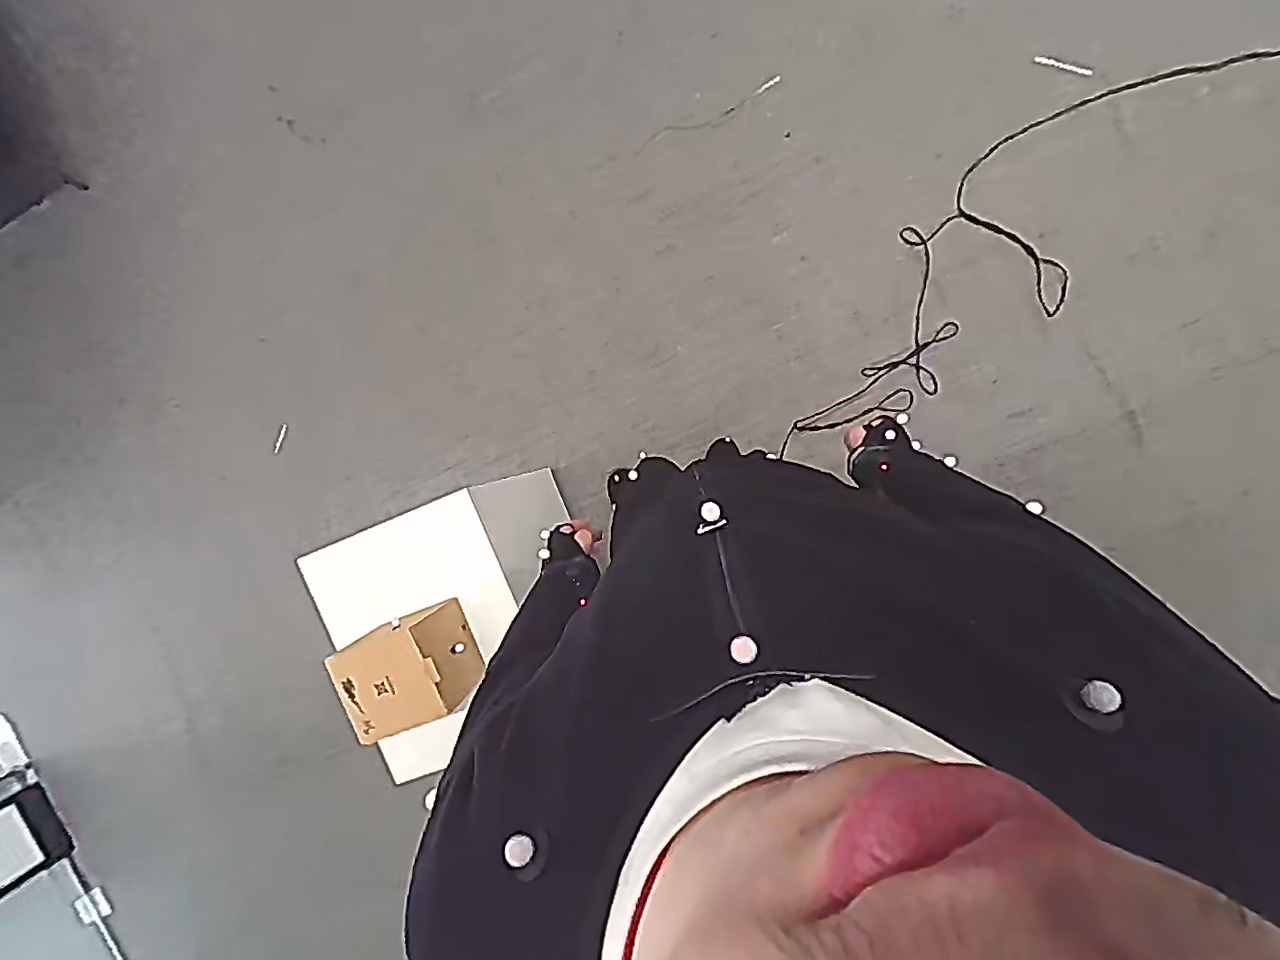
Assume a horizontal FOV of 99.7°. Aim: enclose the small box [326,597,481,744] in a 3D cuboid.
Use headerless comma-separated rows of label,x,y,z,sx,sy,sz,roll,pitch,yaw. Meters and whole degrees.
small box,-0.413,0.335,0.985,0.179,0.176,0.168,-24,93,9
